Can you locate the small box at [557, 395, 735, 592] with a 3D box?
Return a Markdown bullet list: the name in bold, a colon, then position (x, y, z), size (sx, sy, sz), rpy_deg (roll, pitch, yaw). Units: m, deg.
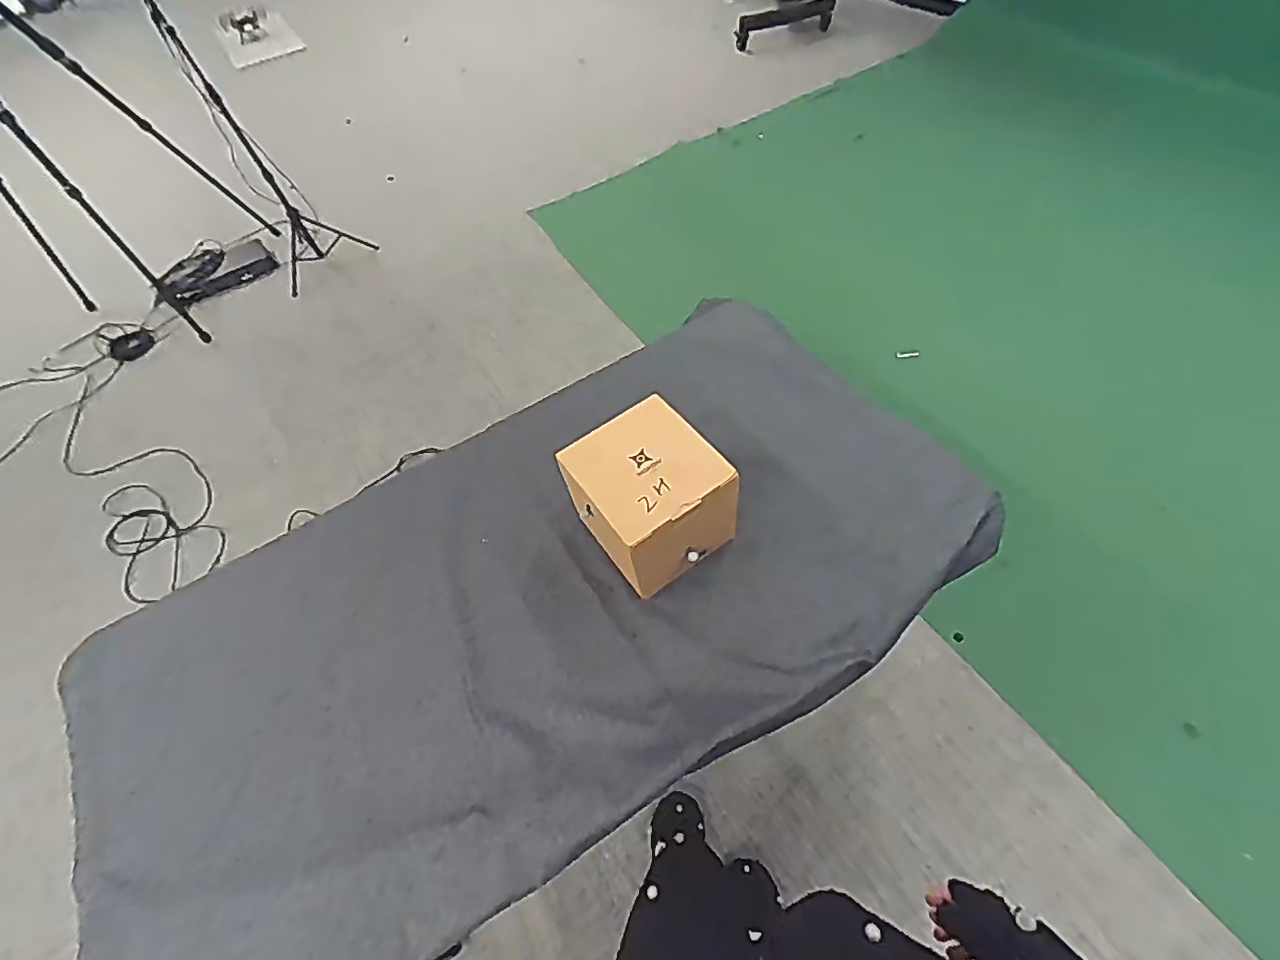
- **small box**: position (0.011, 0.022, 0.747), size (0.168, 0.176, 0.179), rpy_deg (-33, 59, -14)
